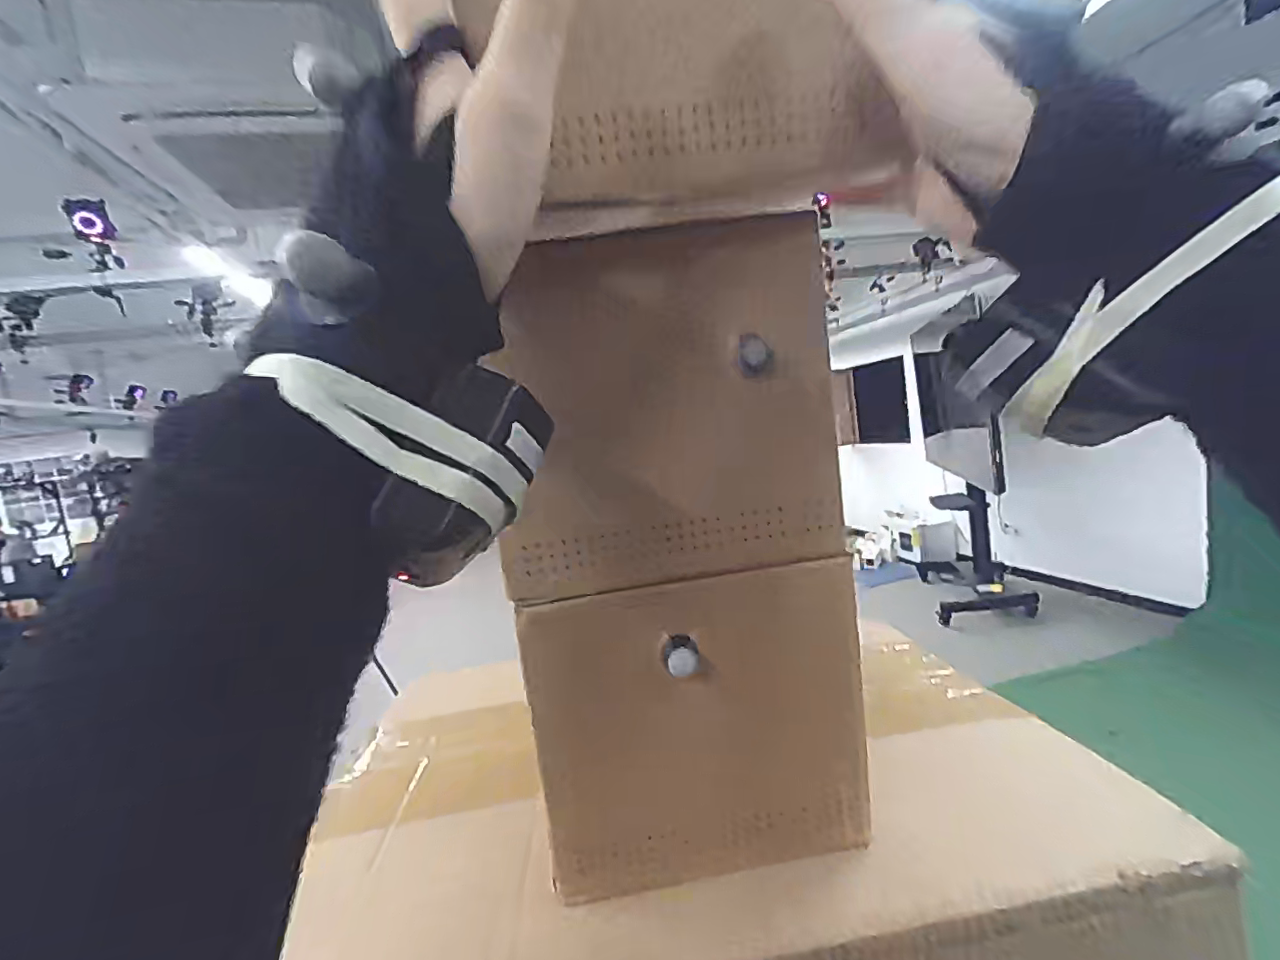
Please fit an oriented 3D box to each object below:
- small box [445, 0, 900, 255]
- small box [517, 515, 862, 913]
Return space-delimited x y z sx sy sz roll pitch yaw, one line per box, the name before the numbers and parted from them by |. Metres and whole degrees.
small box | 0.004 -0.208 0.261 0.179 0.176 0.168 -11 21 -8
small box | 0.029 0.131 0.357 0.179 0.176 0.168 -9 7 -4
